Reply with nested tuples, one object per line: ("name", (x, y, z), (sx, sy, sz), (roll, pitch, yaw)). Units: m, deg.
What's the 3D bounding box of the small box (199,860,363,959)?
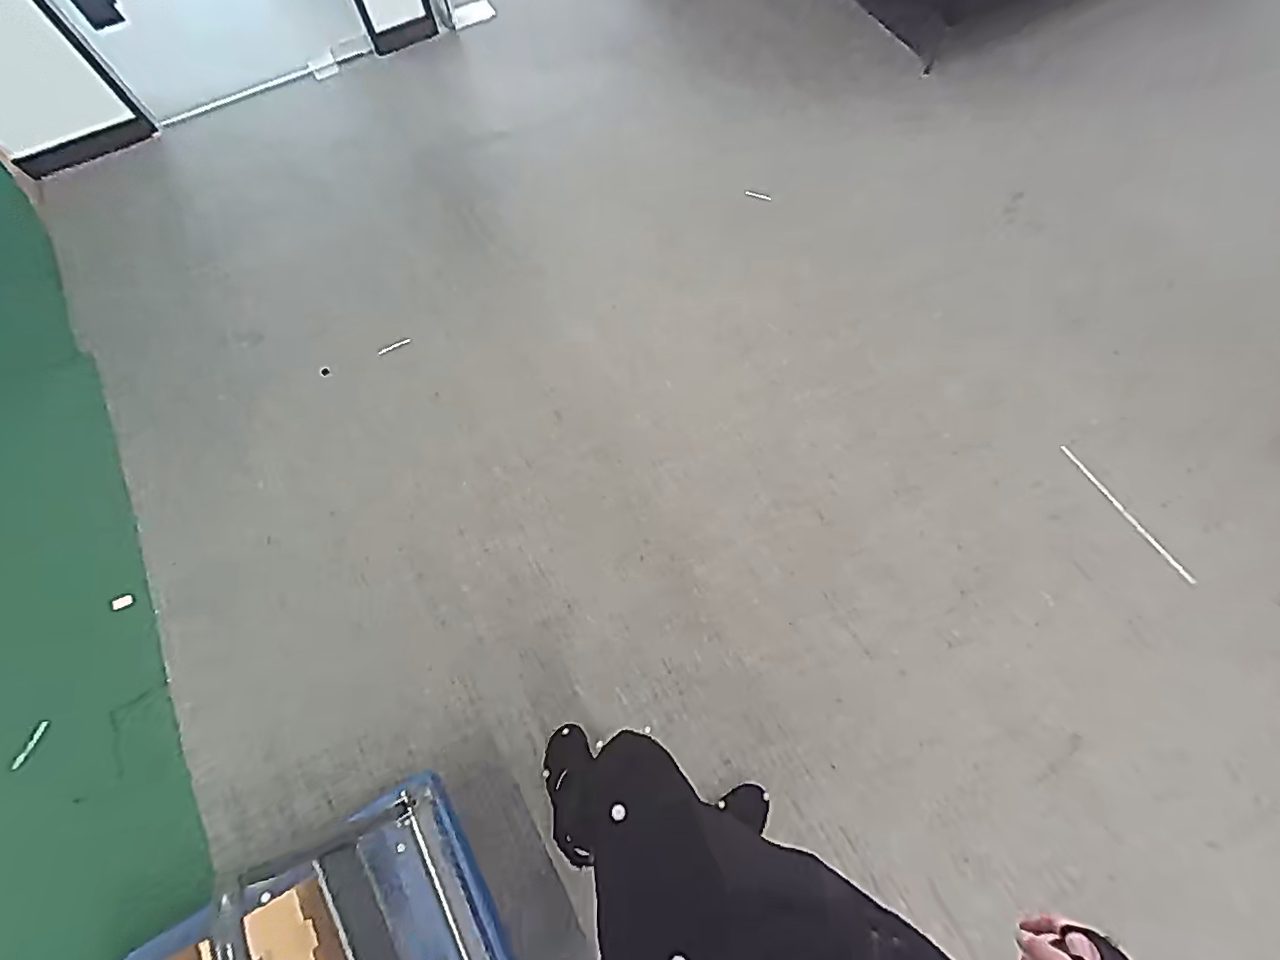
("small box", (-0.655, 0.854, 1.004), (0.179, 0.176, 0.168), (-26, 71, -11))
